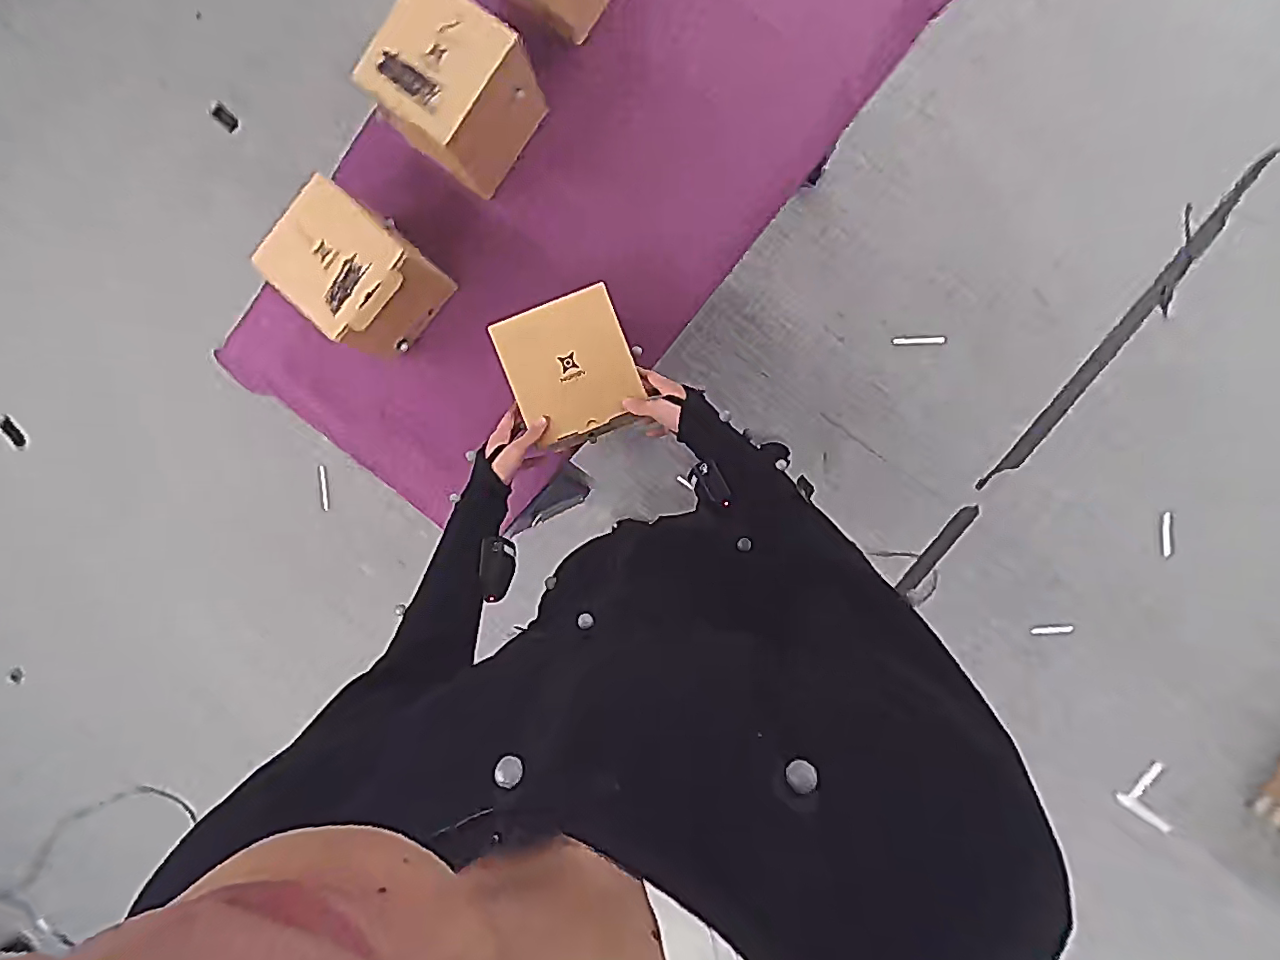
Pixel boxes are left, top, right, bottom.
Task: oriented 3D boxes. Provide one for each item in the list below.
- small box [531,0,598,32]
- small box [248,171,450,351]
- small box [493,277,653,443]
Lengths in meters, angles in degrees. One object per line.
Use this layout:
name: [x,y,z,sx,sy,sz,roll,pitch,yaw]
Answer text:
small box: [-0.122,-0.805,0.766,0.168,0.176,0.179,37,98,0]
small box: [-0.430,-0.318,0.832,0.179,0.176,0.168,42,96,2]
small box: [-0.089,-0.159,0.782,0.168,0.176,0.179,-21,93,1]
